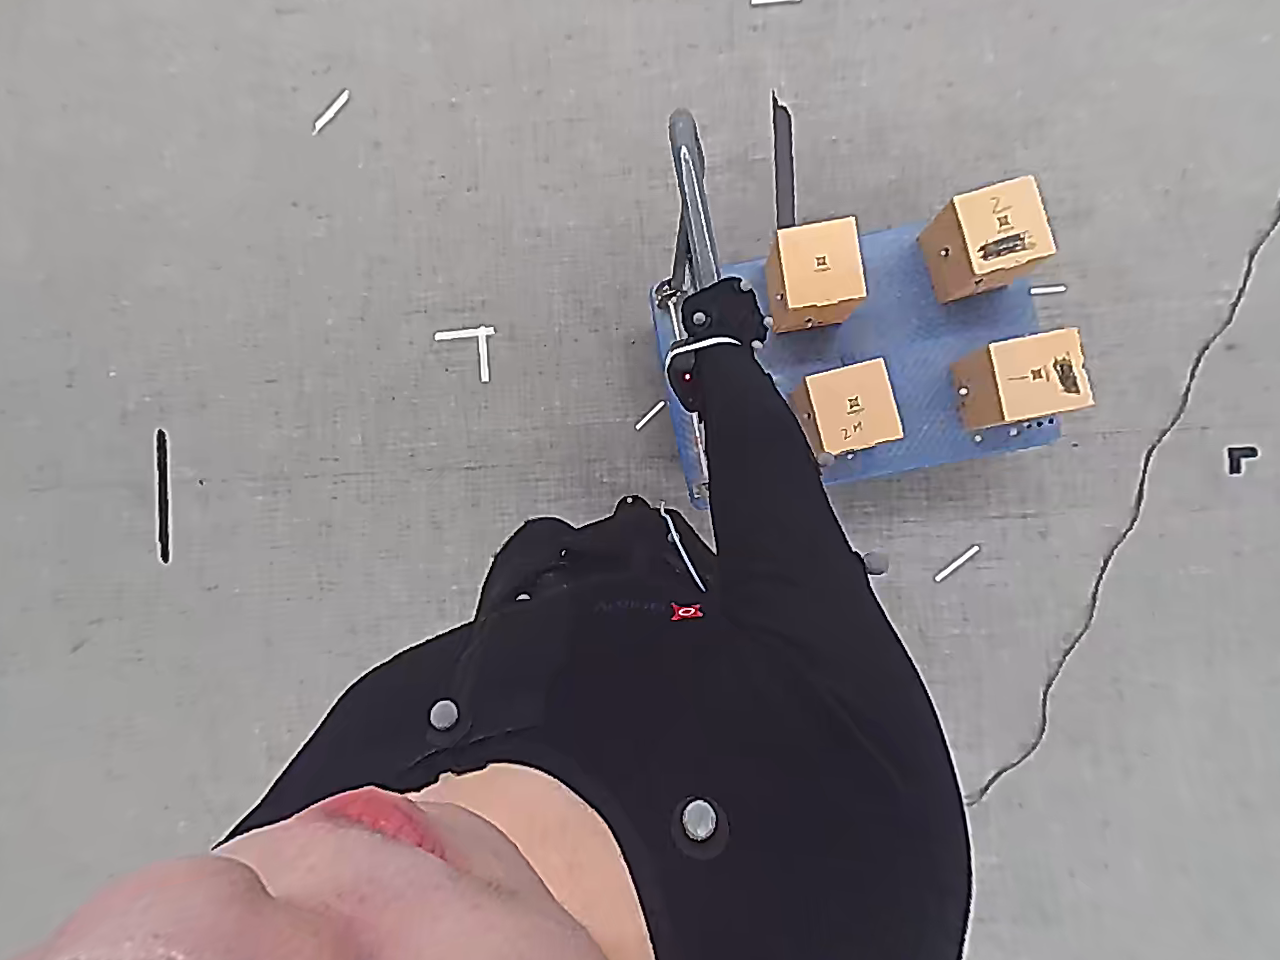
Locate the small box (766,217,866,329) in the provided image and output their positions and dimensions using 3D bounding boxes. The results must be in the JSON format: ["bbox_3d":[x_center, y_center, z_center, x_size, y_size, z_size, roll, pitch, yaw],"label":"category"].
[{"bbox_3d":[0.388,-0.459,1.218,0.168,0.176,0.179,-8,90,3],"label":"small box"}]

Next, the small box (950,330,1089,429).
[{"bbox_3d":[0.816,-0.212,1.179,0.179,0.176,0.168,-10,88,5],"label":"small box"}]

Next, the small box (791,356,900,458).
[{"bbox_3d":[0.448,-0.155,1.206,0.168,0.176,0.179,-13,88,4],"label":"small box"}]
